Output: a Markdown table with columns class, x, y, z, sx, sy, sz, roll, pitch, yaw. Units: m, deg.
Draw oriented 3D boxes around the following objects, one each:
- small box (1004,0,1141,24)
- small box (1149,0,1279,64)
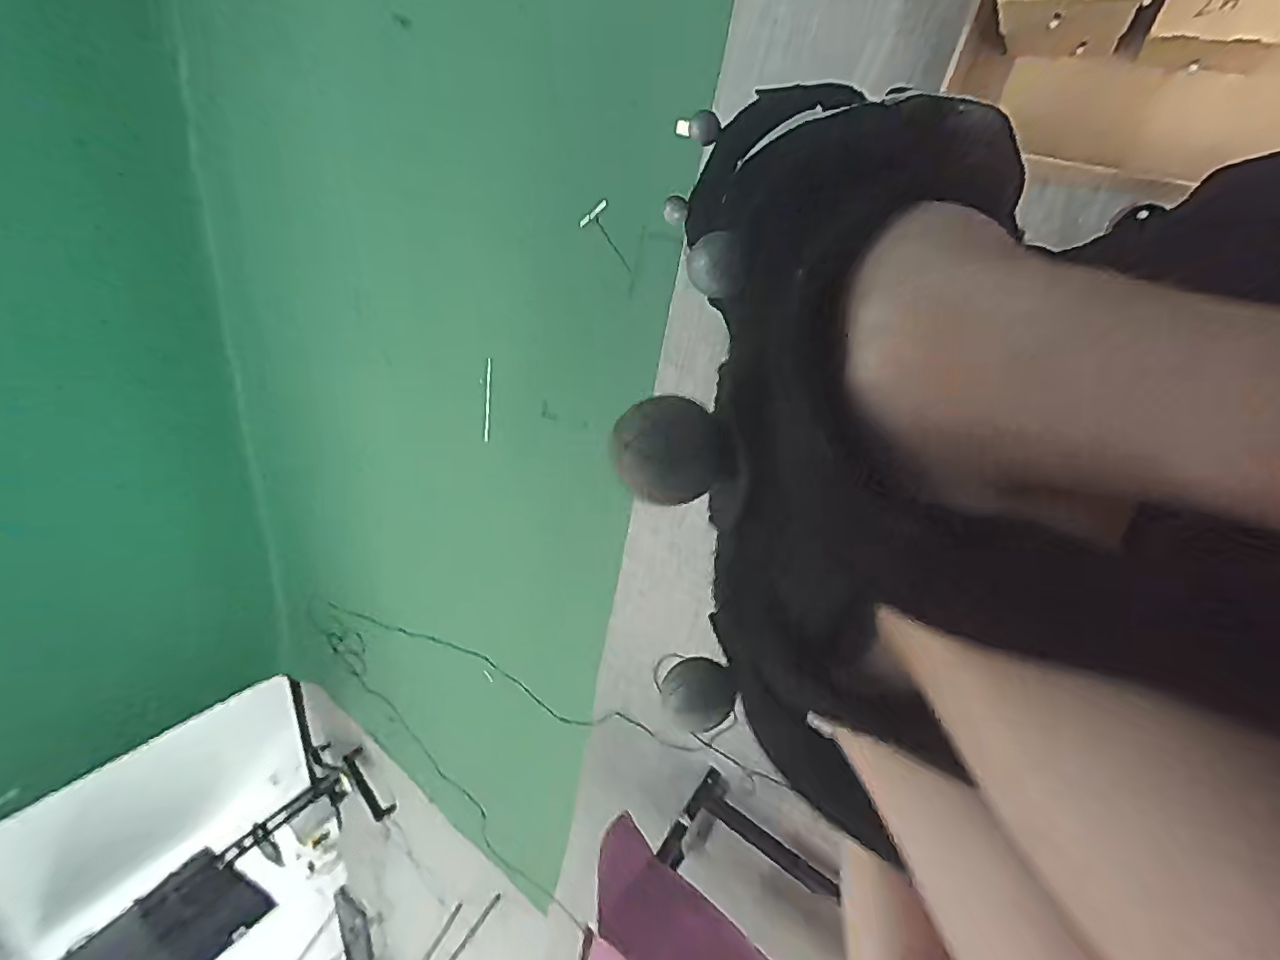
| class | x | y | z | sx | sy | sz | roll | pitch | yaw |
| --- | --- | --- | --- | --- | --- | --- | --- | --- | --- |
| small box | 0.653 | -0.778 | 0.769 | 0.179 | 0.176 | 0.168 | 25 | 123 | 27 |
| small box | 0.909 | -0.755 | 0.803 | 0.168 | 0.176 | 0.179 | 30 | 125 | 25 |
